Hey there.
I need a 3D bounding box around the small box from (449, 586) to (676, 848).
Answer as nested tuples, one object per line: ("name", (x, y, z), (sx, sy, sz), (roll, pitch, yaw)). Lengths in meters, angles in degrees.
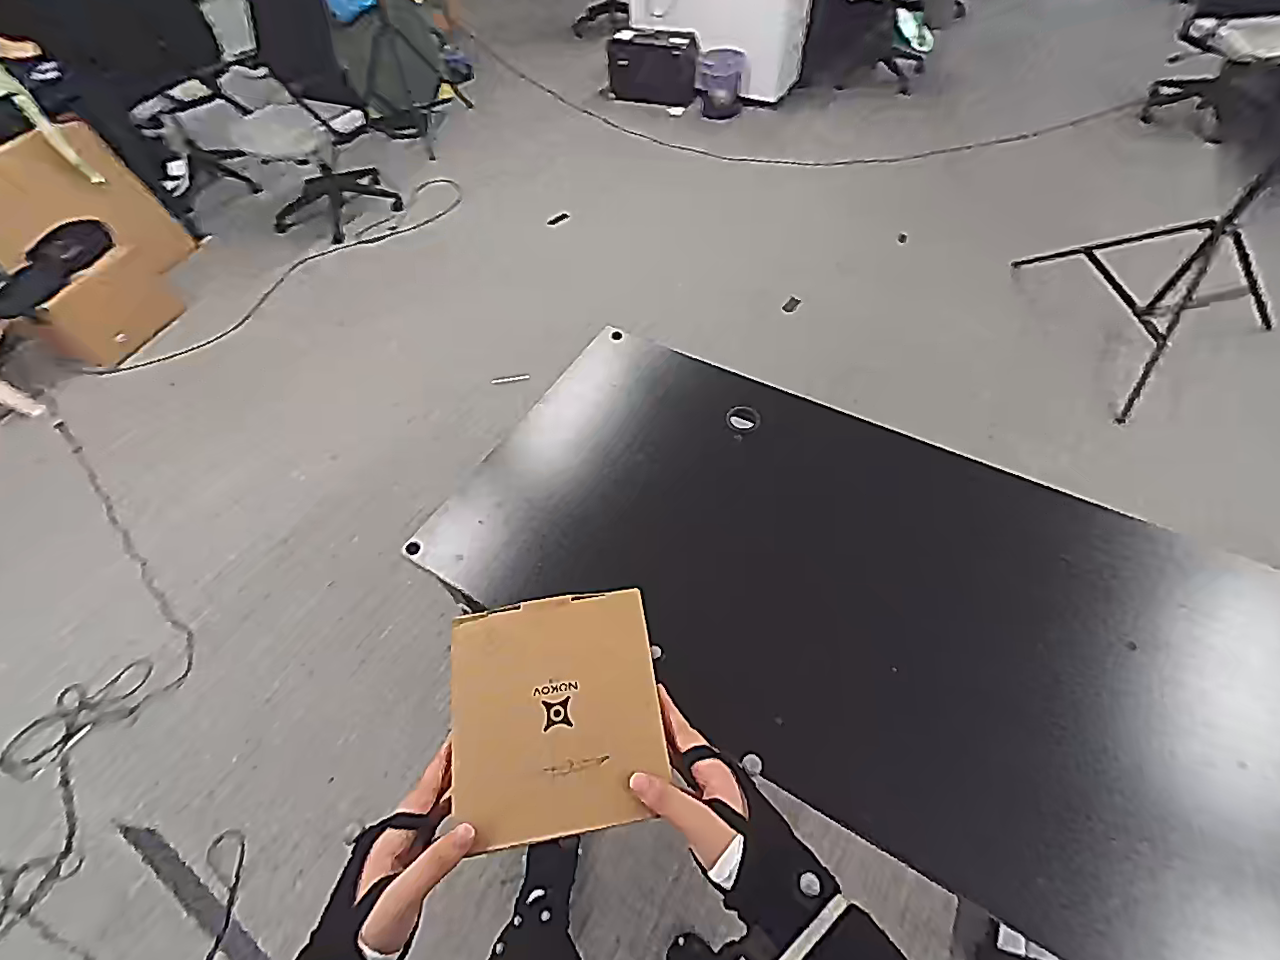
("small box", (-0.068, 0.215, 0.497), (0.168, 0.176, 0.179), (-7, 62, -5))
